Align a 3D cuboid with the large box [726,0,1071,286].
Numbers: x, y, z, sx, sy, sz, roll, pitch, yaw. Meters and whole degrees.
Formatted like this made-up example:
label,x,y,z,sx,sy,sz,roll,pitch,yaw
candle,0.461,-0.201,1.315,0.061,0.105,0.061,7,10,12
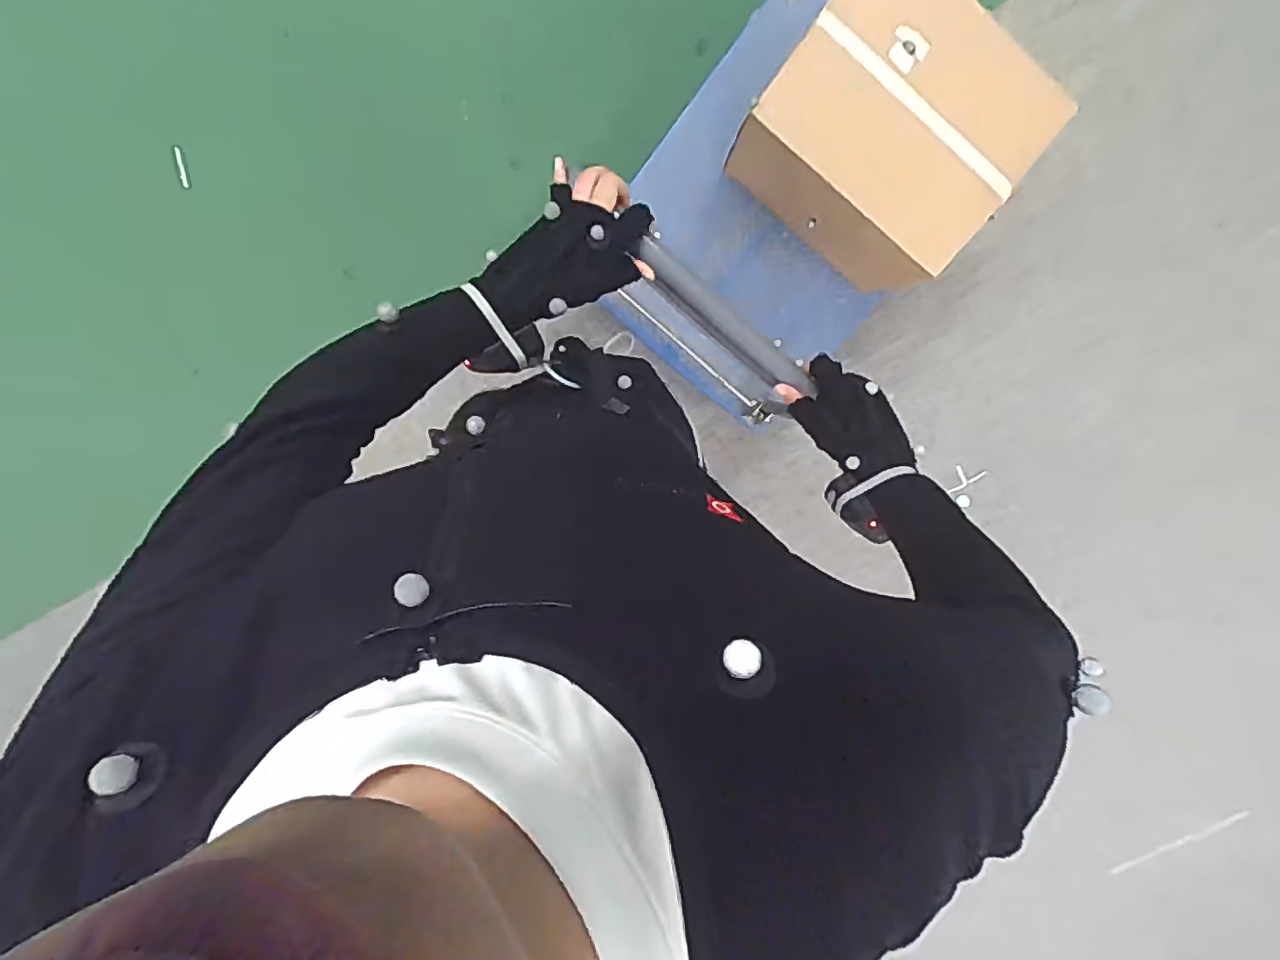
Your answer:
label,x,y,z,sx,sy,sz,roll,pitch,yaw
large box,0.417,-0.608,0.973,0.408,0.320,0.320,37,102,-8
